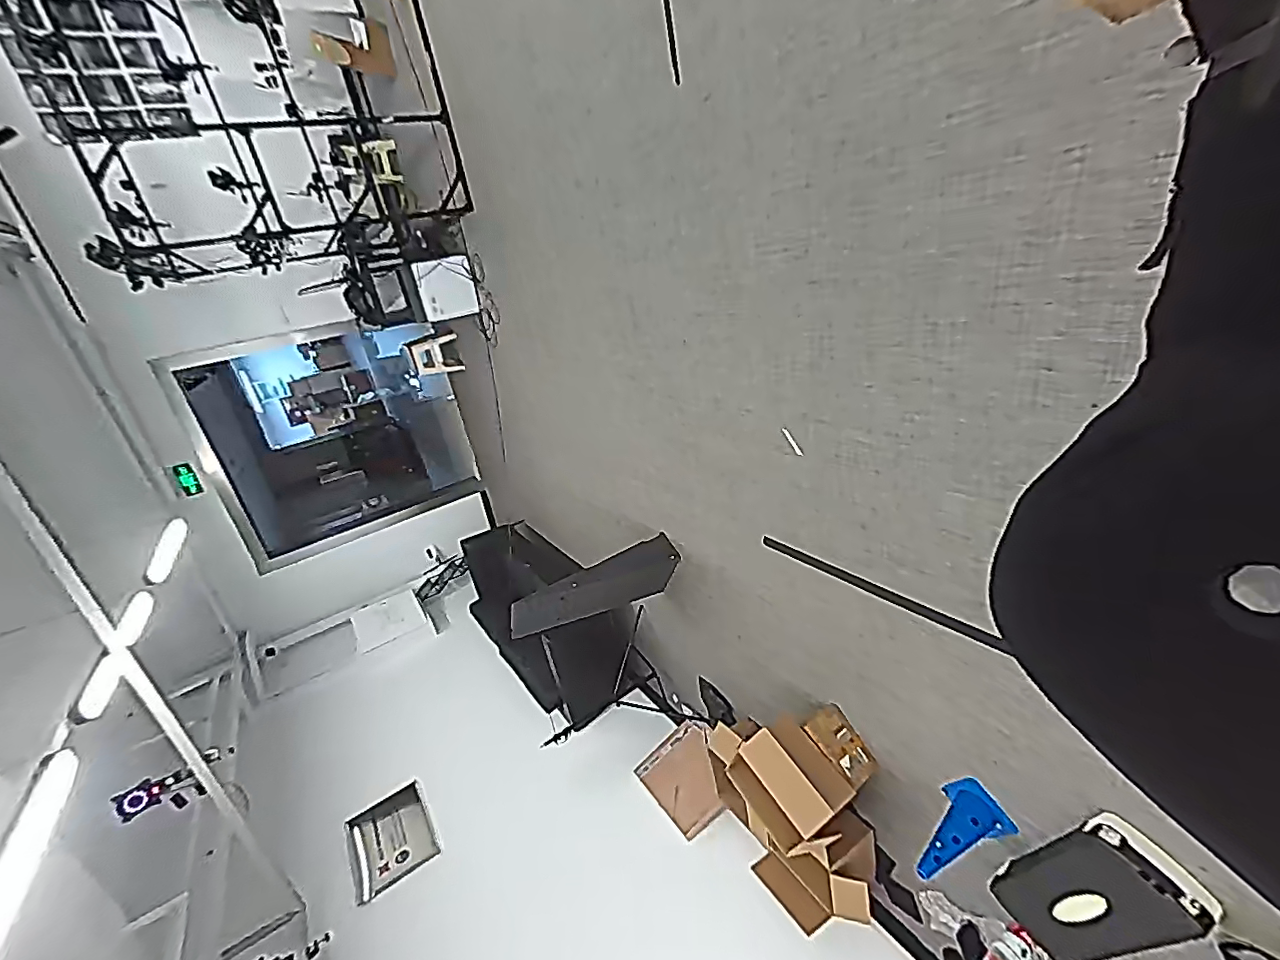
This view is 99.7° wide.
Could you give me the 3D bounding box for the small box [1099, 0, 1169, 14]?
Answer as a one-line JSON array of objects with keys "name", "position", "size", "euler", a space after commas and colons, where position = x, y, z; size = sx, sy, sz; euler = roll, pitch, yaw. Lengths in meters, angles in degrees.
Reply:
[{"name": "small box", "position": [0.241, -0.312, 0.187], "size": [0.168, 0.176, 0.179], "euler": [-7, 111, 50]}]
